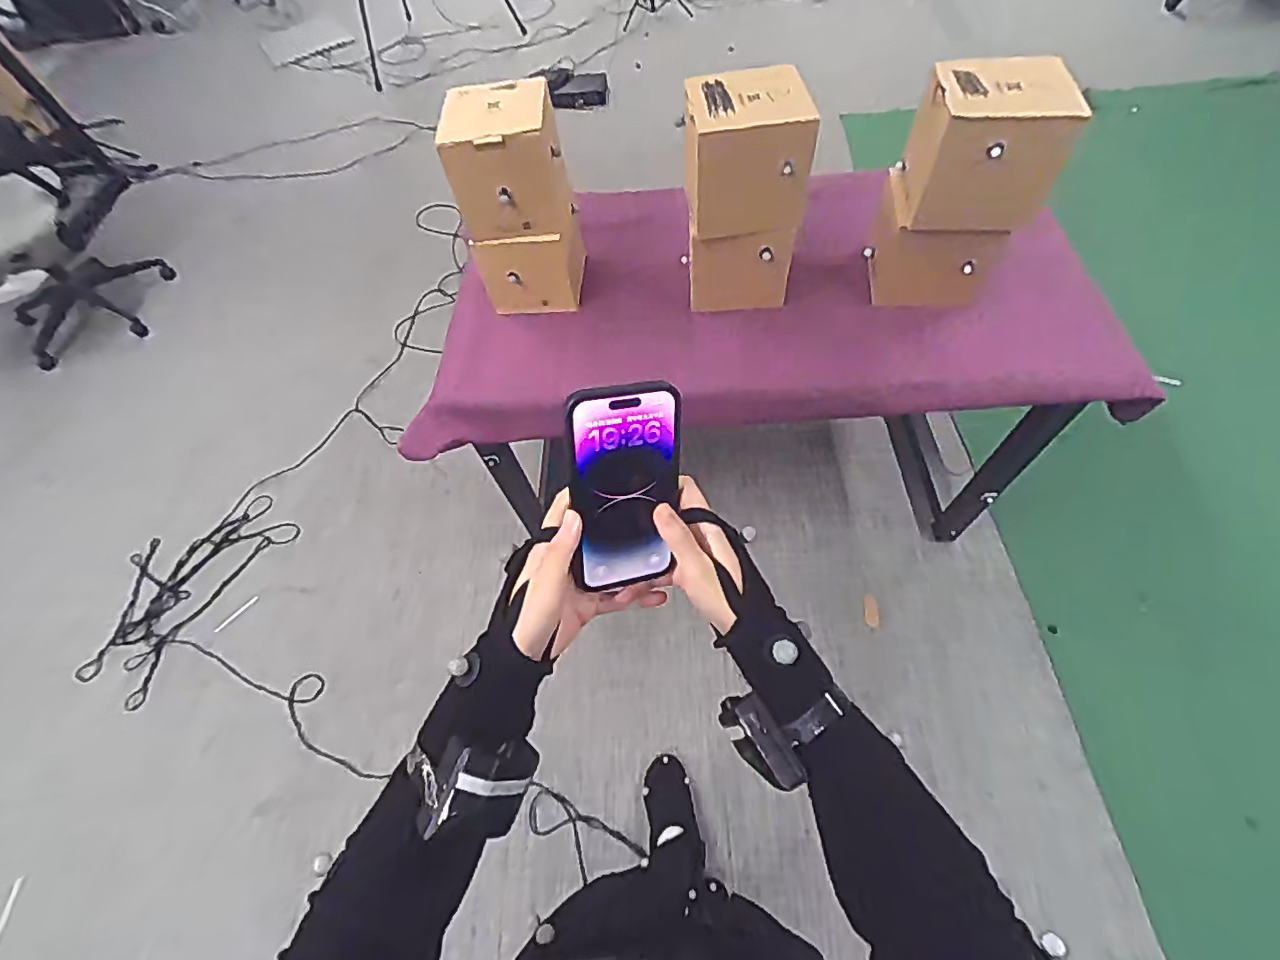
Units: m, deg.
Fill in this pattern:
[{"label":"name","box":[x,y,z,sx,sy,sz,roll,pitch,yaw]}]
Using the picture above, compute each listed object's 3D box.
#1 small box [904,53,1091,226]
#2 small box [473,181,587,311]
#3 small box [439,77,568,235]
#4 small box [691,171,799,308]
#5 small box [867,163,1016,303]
[{"label":"small box","box":[0.515,-0.505,0.815,0.179,0.176,0.168,4,60,8]},{"label":"small box","box":[-0.203,-0.447,1.053,0.168,0.176,0.179,-1,59,6]},{"label":"small box","box":[-0.219,-0.537,0.916,0.168,0.176,0.179,-5,60,3]},{"label":"small box","box":[0.184,-0.440,1.002,0.179,0.176,0.168,-1,59,5]},{"label":"small box","box":[0.523,-0.435,0.963,0.179,0.176,0.168,4,60,9]}]
